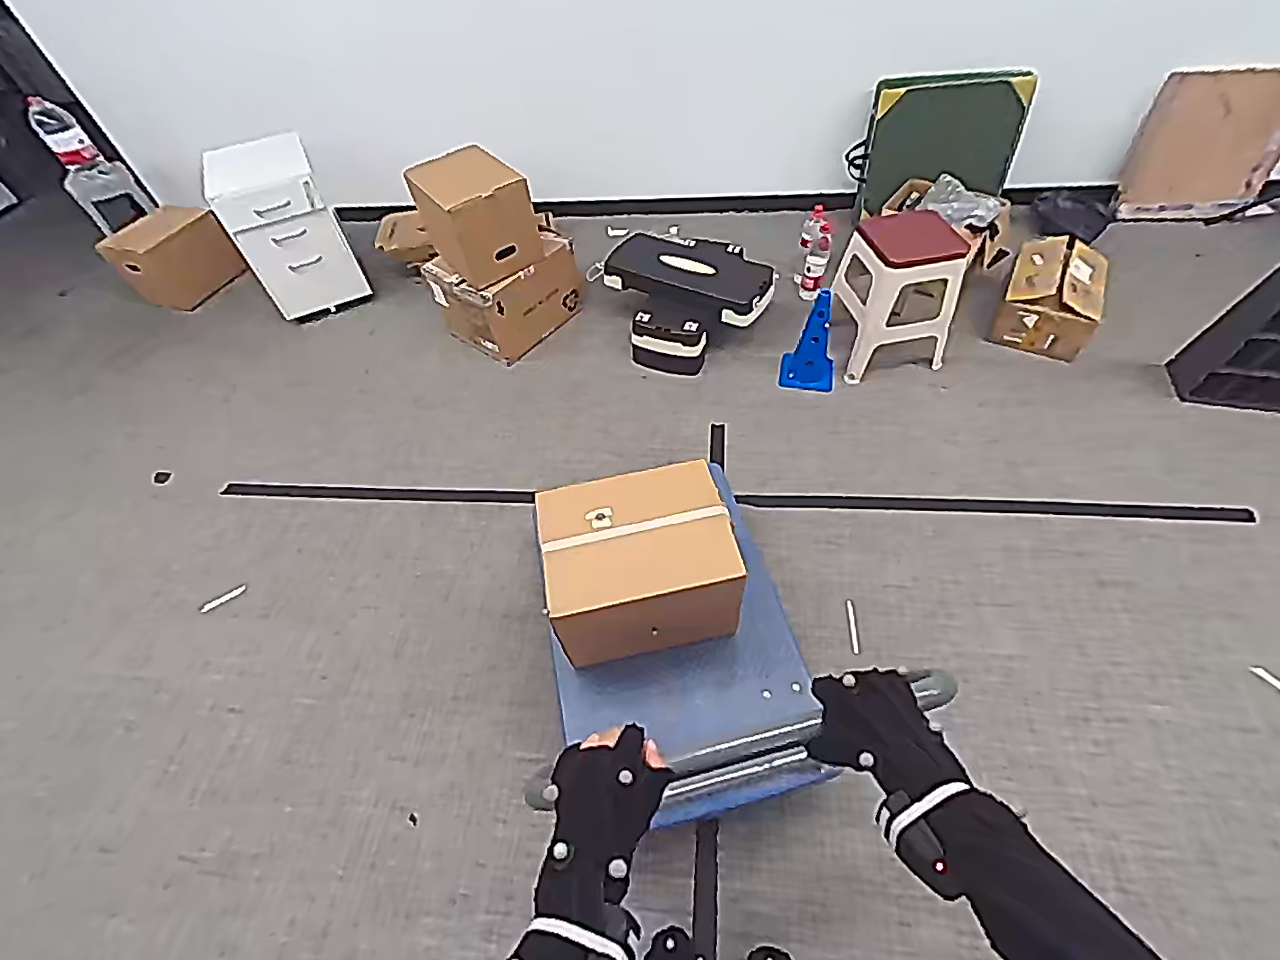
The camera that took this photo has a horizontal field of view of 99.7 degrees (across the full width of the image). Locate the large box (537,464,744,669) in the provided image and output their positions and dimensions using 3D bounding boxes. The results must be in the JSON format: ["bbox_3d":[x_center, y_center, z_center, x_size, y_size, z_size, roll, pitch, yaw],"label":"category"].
[{"bbox_3d":[0.000,0.211,1.283,0.408,0.320,0.320,-13,53,-3],"label":"large box"}]
